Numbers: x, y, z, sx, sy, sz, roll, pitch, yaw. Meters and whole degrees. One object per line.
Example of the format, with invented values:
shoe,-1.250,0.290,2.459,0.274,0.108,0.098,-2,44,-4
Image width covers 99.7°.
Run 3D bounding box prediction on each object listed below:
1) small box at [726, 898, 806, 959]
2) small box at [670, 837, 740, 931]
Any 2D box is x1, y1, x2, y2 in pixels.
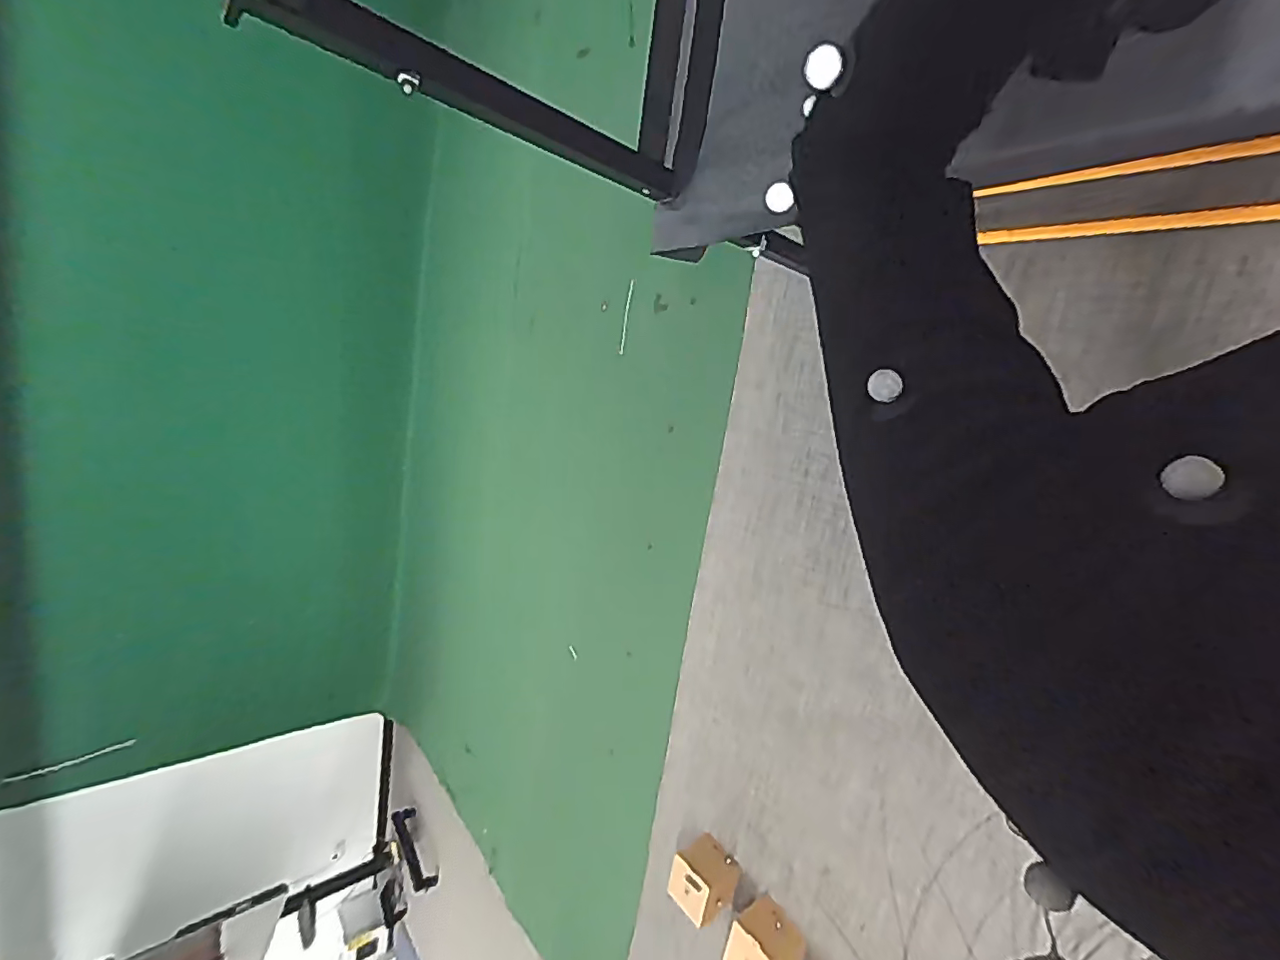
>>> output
small box,0.404,1.504,1.728,0.168,0.176,0.179,23,107,46
small box,0.234,1.422,1.919,0.168,0.176,0.179,22,107,46
